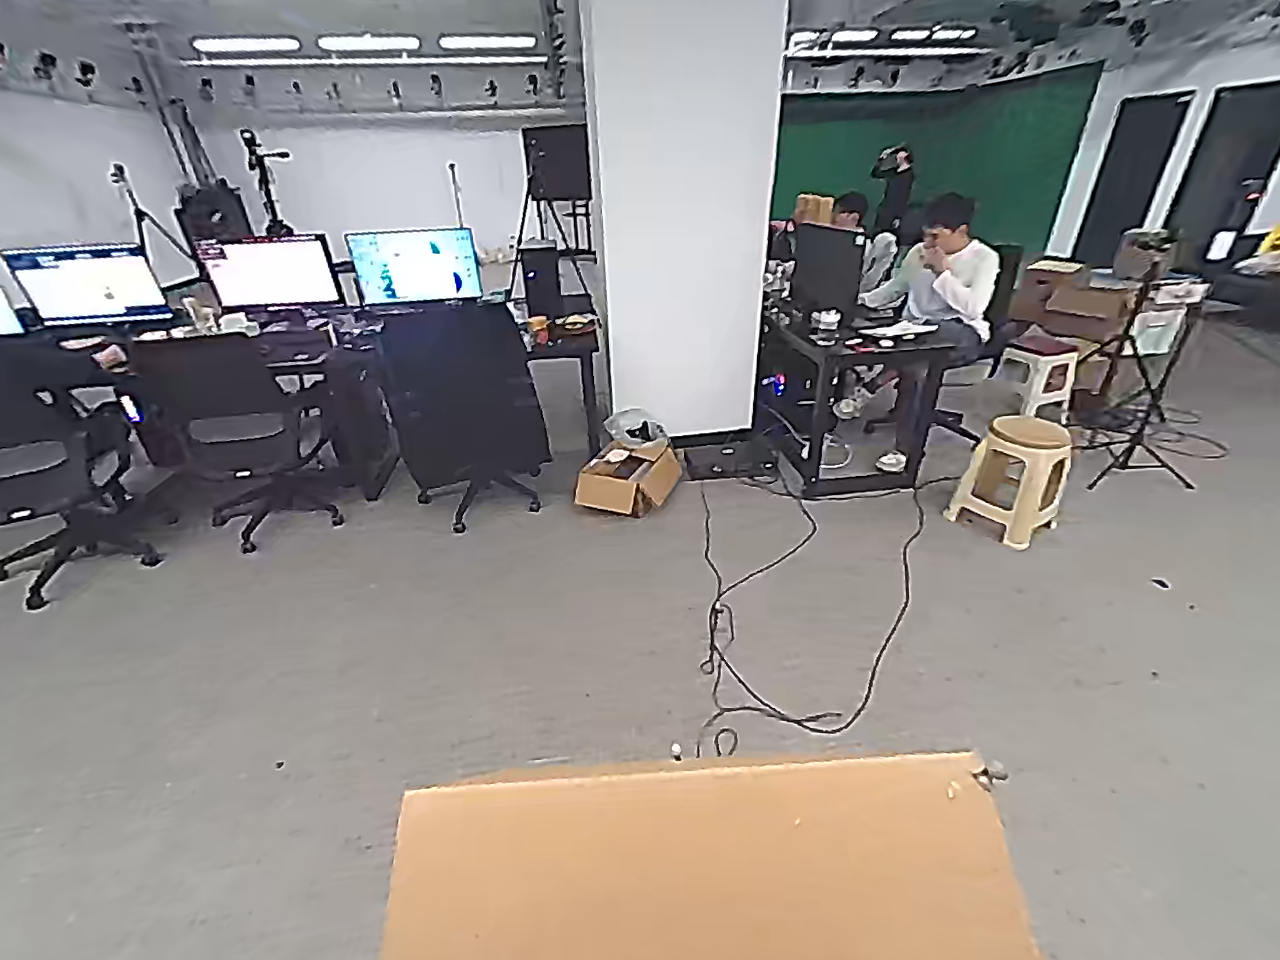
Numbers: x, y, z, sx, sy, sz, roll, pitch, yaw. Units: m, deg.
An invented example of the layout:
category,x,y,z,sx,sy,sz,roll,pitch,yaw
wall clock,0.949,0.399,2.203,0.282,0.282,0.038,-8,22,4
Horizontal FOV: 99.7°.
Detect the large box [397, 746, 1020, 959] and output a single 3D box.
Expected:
category,x,y,z,sx,sy,sz,roll,pitch,yaw
large box,0.042,0.413,0.457,0.408,0.320,0.320,-3,65,-4
